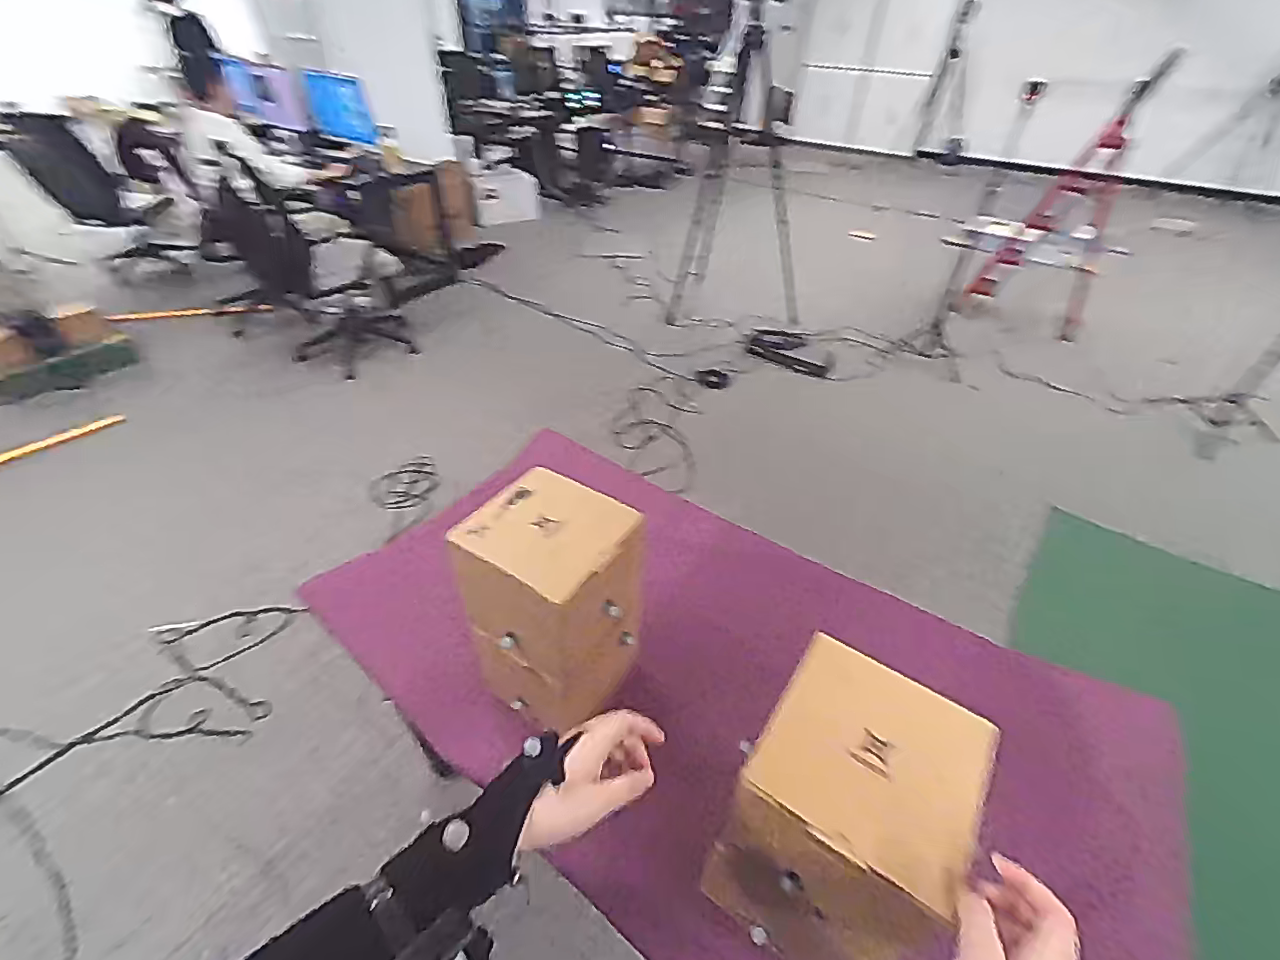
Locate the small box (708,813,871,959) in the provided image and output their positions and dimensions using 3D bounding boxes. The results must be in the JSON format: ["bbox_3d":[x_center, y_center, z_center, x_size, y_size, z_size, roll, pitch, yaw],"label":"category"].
[{"bbox_3d":[0.189,0.411,0.605,0.168,0.176,0.179,26,47,26],"label":"small box"}]

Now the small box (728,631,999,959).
[{"bbox_3d":[0.196,0.286,0.502,0.168,0.176,0.179,26,46,26],"label":"small box"}]

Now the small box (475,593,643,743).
[{"bbox_3d":[-0.113,0.238,0.794,0.168,0.176,0.179,25,45,25],"label":"small box"}]

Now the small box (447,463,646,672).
[{"bbox_3d":[-0.111,0.114,0.688,0.179,0.176,0.168,25,44,24],"label":"small box"}]
